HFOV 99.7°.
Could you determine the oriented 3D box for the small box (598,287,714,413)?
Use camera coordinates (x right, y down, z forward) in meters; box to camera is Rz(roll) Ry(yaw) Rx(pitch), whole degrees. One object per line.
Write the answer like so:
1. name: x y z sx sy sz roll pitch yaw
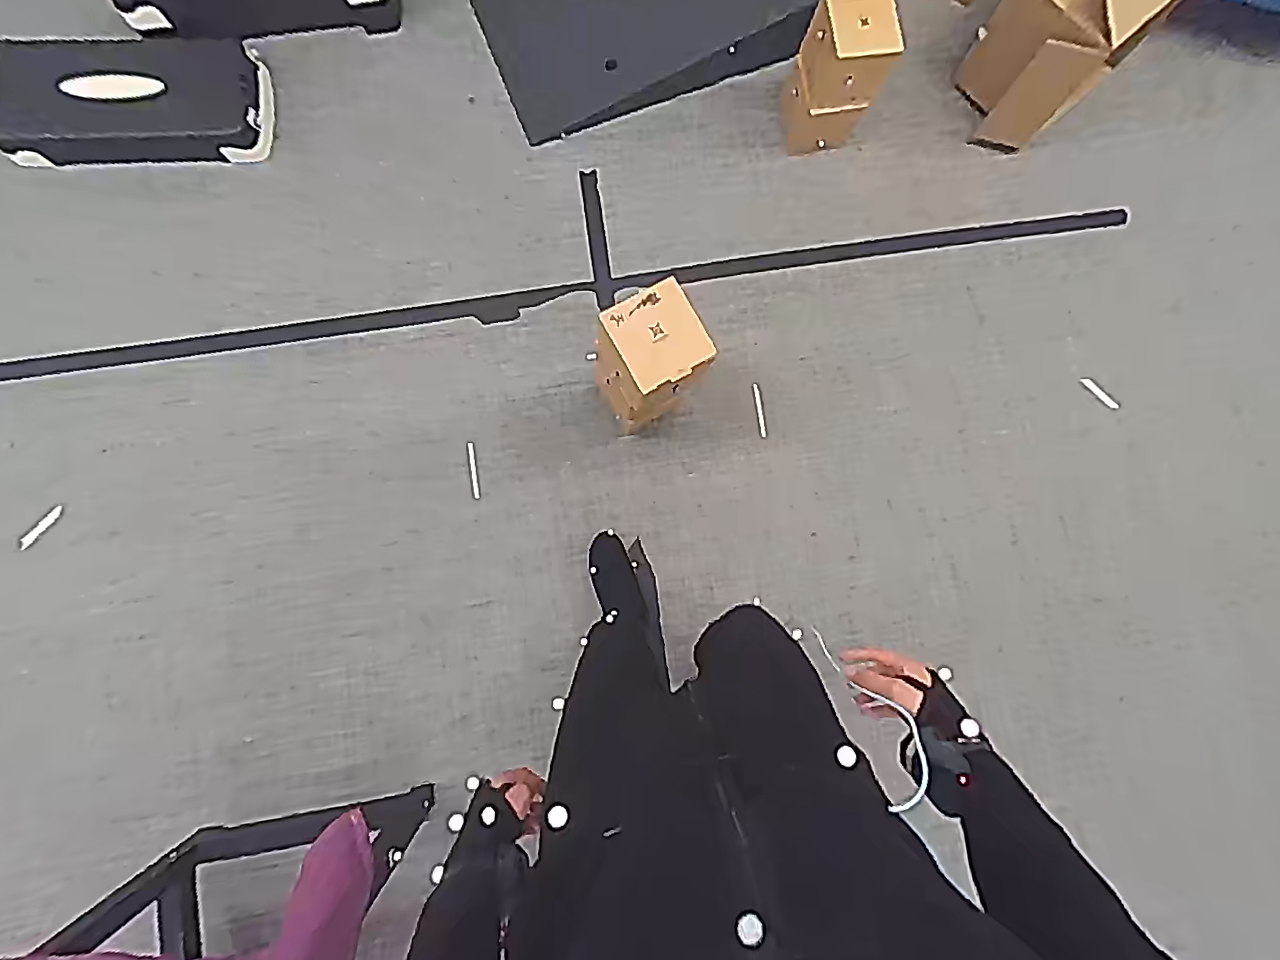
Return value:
1. small box: 0.026 -0.250 1.094 0.168 0.176 0.179 -29 88 -7
